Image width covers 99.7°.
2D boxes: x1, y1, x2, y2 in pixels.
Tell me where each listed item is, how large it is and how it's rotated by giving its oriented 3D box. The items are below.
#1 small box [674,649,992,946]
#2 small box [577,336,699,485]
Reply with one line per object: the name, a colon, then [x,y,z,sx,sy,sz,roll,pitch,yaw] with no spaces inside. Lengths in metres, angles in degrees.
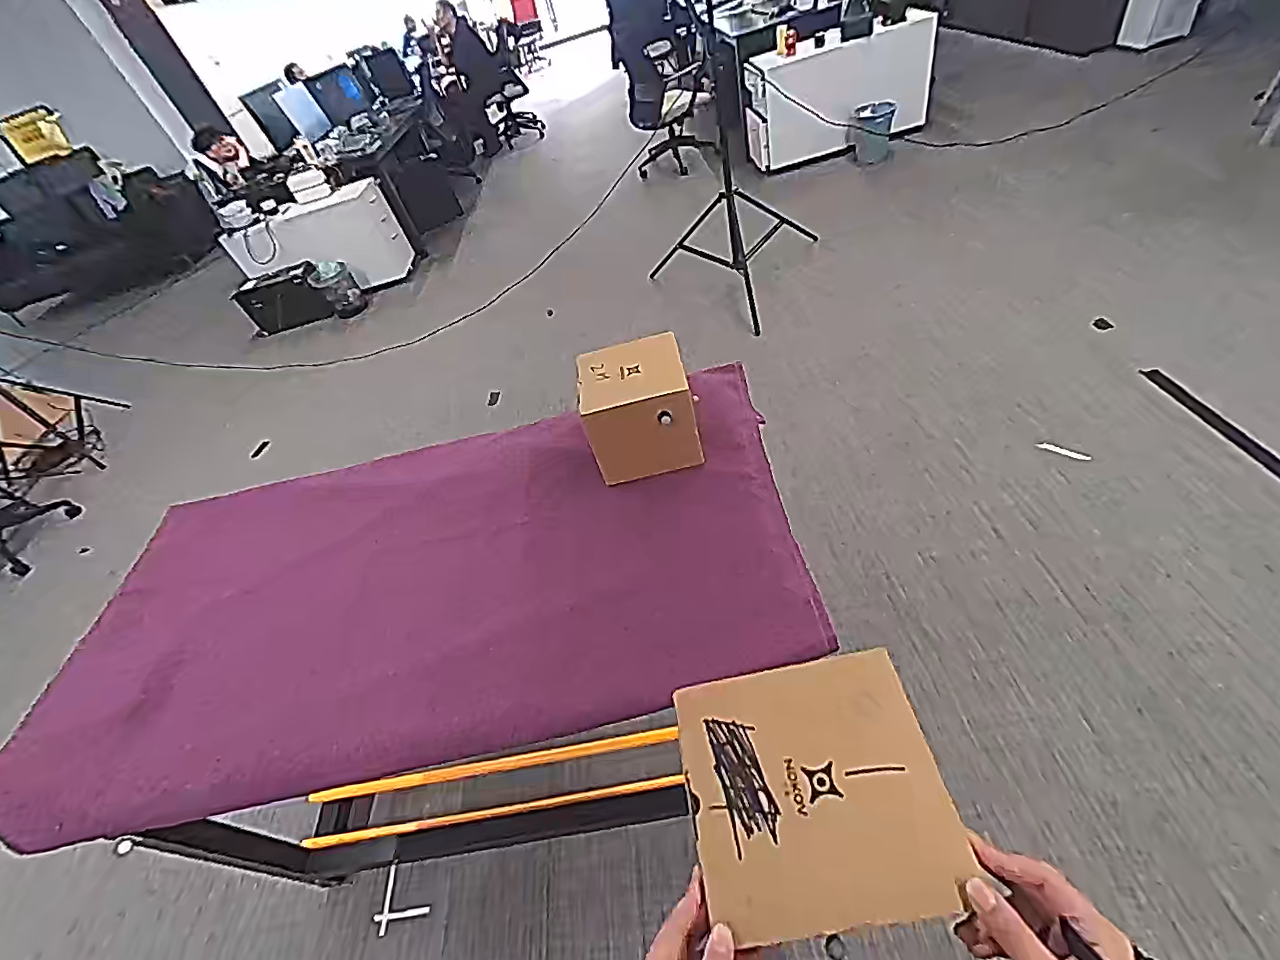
small box: [0.140,0.263,0.441,0.179,0.176,0.168,-15,49,6]
small box: [0.000,-0.115,0.930,0.179,0.176,0.168,-13,45,6]
